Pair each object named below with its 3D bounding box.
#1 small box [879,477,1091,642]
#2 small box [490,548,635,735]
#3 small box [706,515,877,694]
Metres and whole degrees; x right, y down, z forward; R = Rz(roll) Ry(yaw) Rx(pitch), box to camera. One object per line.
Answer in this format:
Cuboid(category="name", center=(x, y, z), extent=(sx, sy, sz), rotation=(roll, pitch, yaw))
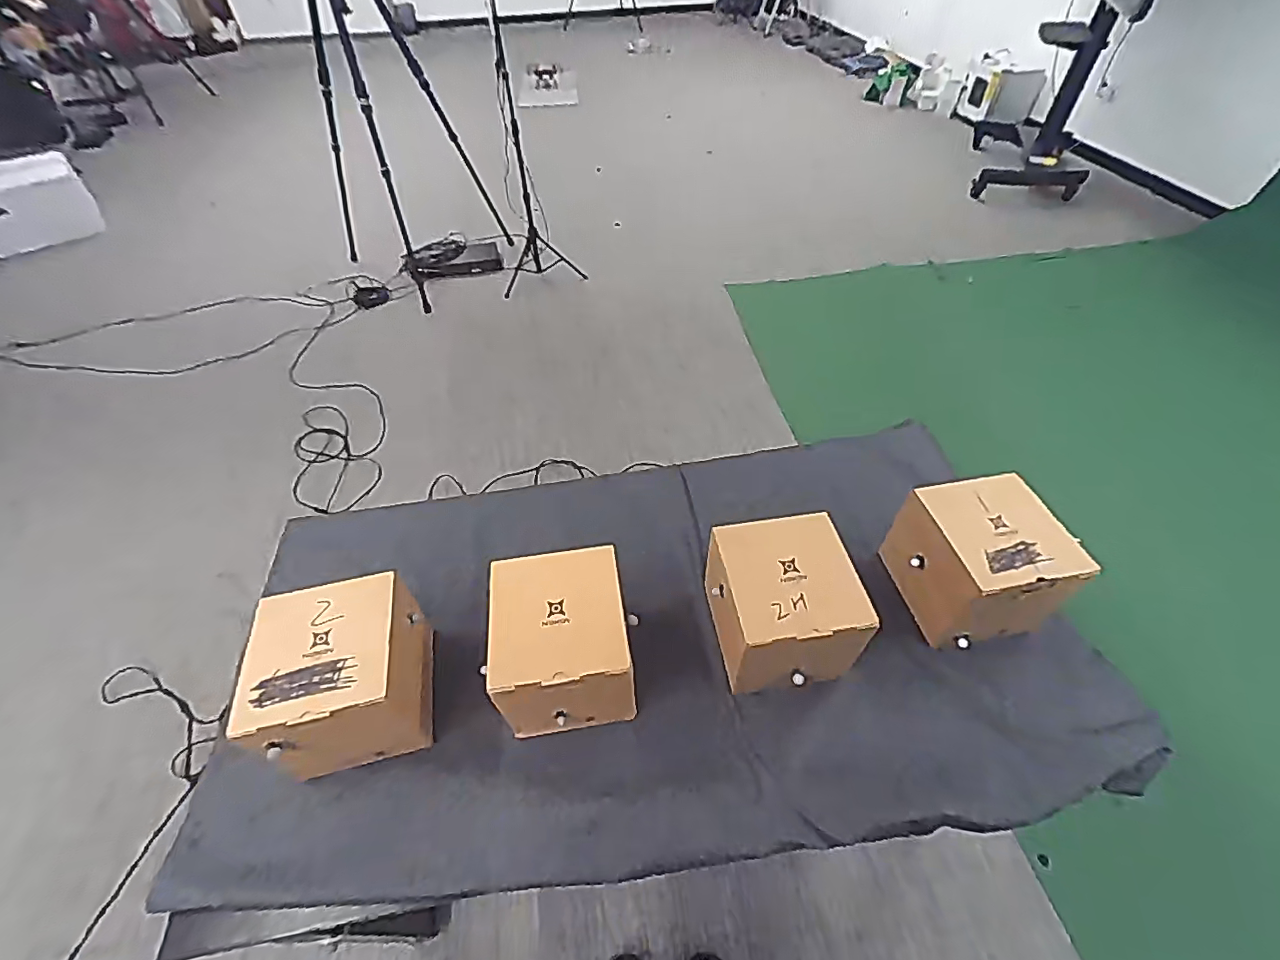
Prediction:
Cuboid(category="small box", center=(0.485, 0.122, 0.795), extent=(0.168, 0.176, 0.179), rotation=(-8, 49, -6))
Cuboid(category="small box", center=(-0.101, 0.216, 0.725), extent=(0.168, 0.176, 0.179), rotation=(-7, 50, -6))
Cuboid(category="small box", center=(0.193, 0.174, 0.755), extent=(0.168, 0.176, 0.179), rotation=(-7, 49, -5))
